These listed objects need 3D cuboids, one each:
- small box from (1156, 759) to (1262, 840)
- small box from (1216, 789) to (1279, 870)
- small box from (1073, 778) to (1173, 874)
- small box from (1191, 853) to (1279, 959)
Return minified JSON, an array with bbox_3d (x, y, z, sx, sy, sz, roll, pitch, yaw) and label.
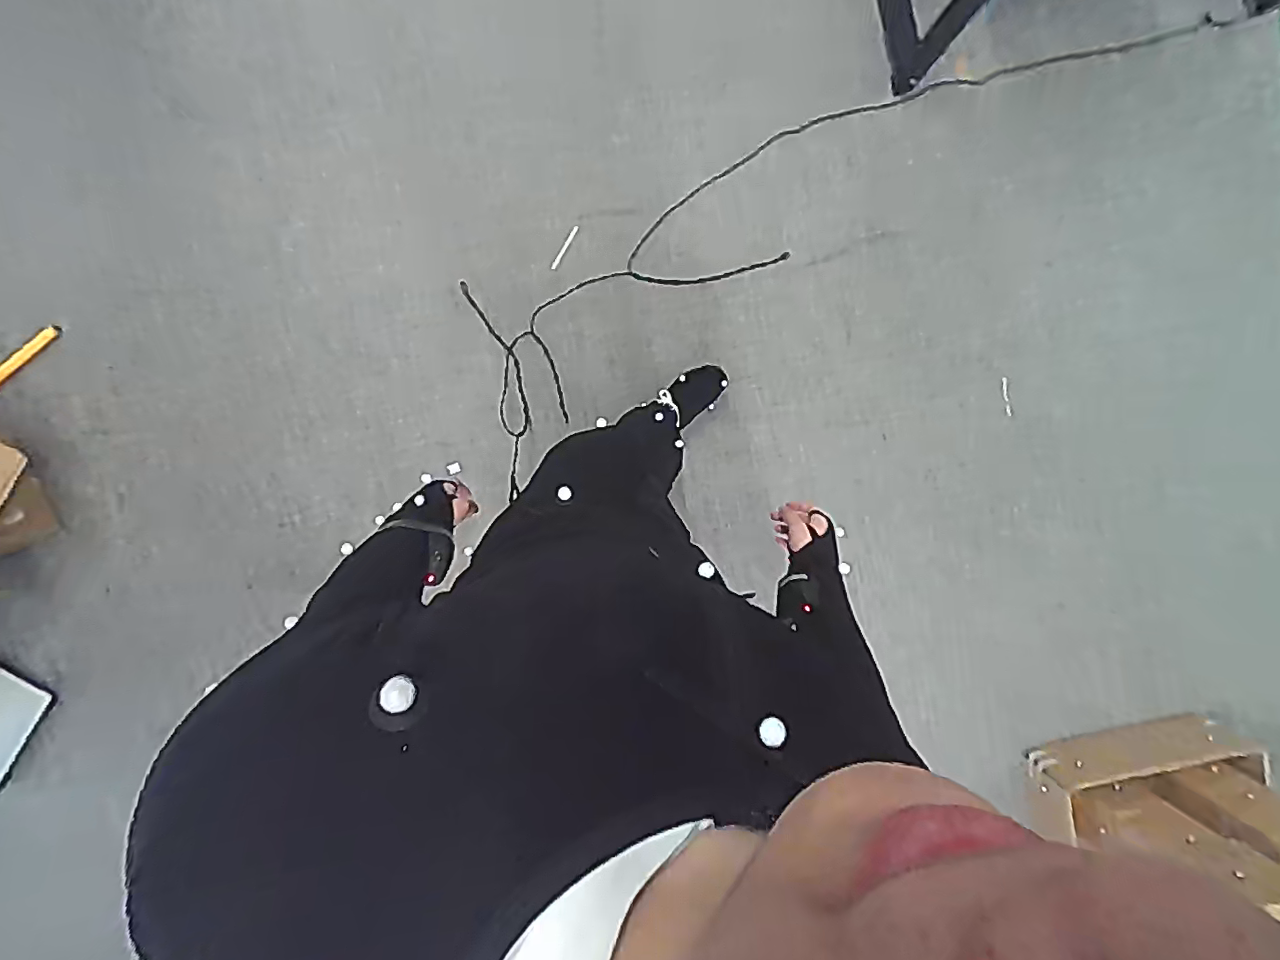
[{"bbox_3d":[1.719,0.971,1.633,0.168,0.176,0.179,-12,94,-1],"label":"small box"},{"bbox_3d":[1.726,0.979,1.466,0.179,0.176,0.168,-12,96,-1],"label":"small box"},{"bbox_3d":[1.446,1.025,1.621,0.168,0.176,0.179,-10,95,-3],"label":"small box"},{"bbox_3d":[1.481,1.034,1.294,0.168,0.176,0.179,-9,94,-2],"label":"small box"}]
